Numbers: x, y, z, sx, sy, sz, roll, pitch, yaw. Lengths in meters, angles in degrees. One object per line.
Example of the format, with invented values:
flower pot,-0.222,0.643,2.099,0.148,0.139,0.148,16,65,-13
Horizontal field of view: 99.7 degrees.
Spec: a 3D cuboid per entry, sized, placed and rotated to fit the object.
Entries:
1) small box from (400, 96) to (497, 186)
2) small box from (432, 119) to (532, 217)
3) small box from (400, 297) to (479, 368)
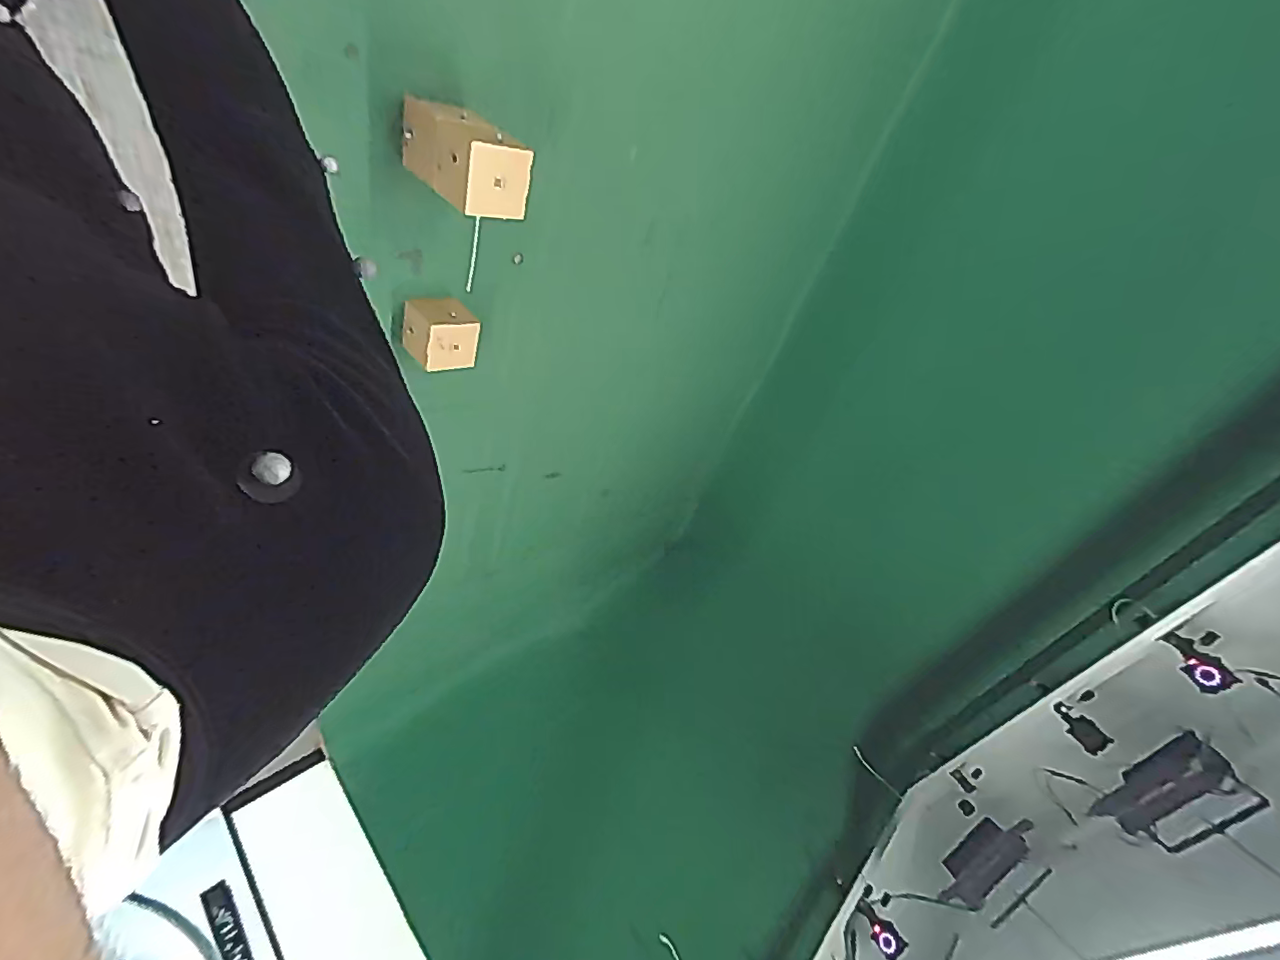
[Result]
small box,-0.510,-0.888,1.434,0.179,0.176,0.168,-20,143,-42
small box,-0.404,-0.787,1.366,0.179,0.176,0.168,-22,145,-43
small box,-0.661,-0.489,1.778,0.179,0.176,0.168,-19,143,-44
